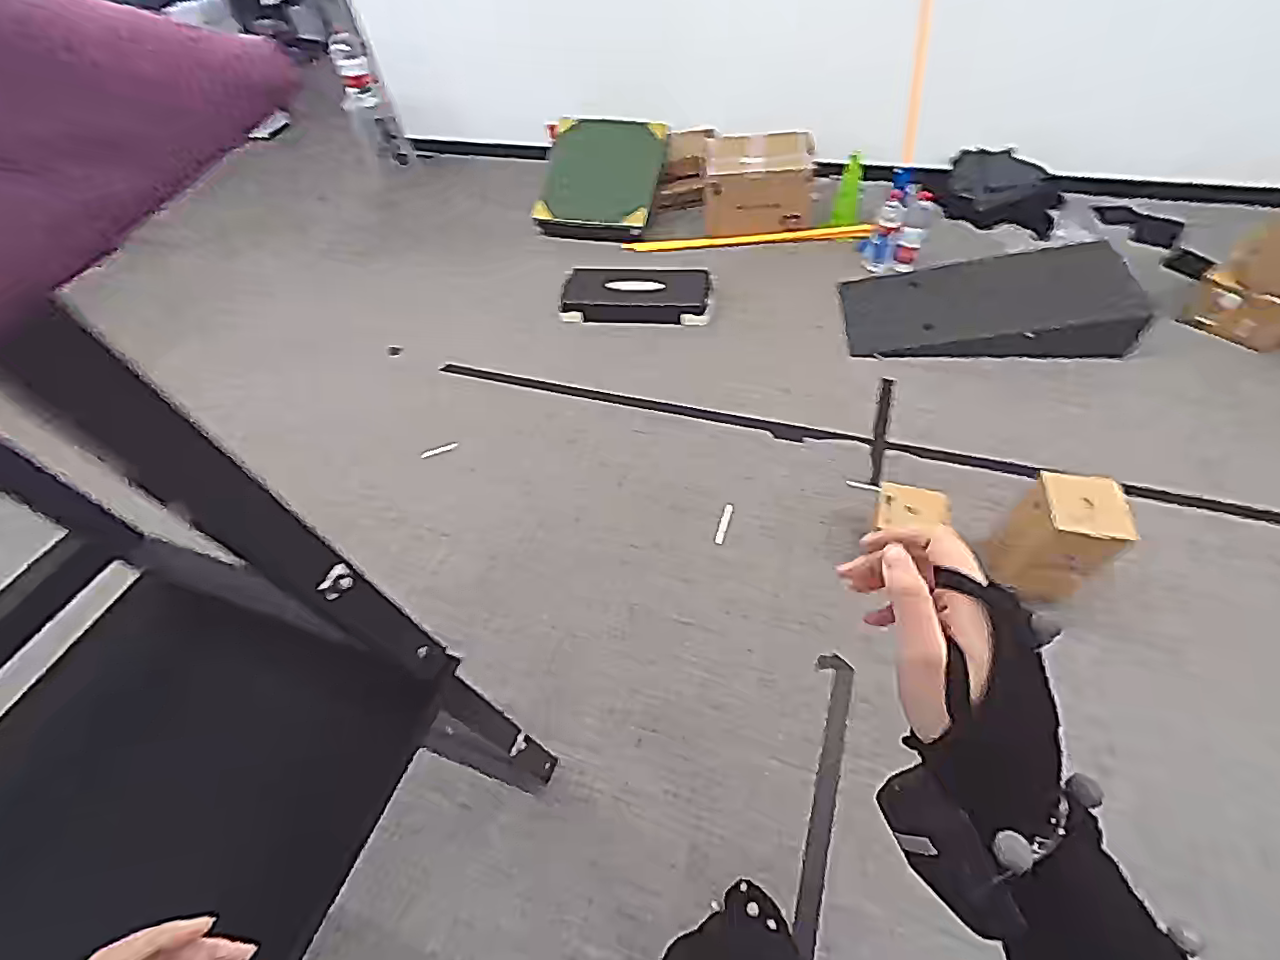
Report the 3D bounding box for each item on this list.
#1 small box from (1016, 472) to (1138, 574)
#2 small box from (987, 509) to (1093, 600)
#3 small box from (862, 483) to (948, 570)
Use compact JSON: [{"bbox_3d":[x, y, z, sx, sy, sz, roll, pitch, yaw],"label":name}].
[{"bbox_3d":[1.060,0.107,1.332,0.168,0.176,0.179,8,54,12],"label":"small box"},{"bbox_3d":[1.072,0.206,1.463,0.168,0.176,0.179,8,54,11],"label":"small box"},{"bbox_3d":[0.755,0.137,1.546,0.179,0.176,0.168,14,56,15],"label":"small box"}]
